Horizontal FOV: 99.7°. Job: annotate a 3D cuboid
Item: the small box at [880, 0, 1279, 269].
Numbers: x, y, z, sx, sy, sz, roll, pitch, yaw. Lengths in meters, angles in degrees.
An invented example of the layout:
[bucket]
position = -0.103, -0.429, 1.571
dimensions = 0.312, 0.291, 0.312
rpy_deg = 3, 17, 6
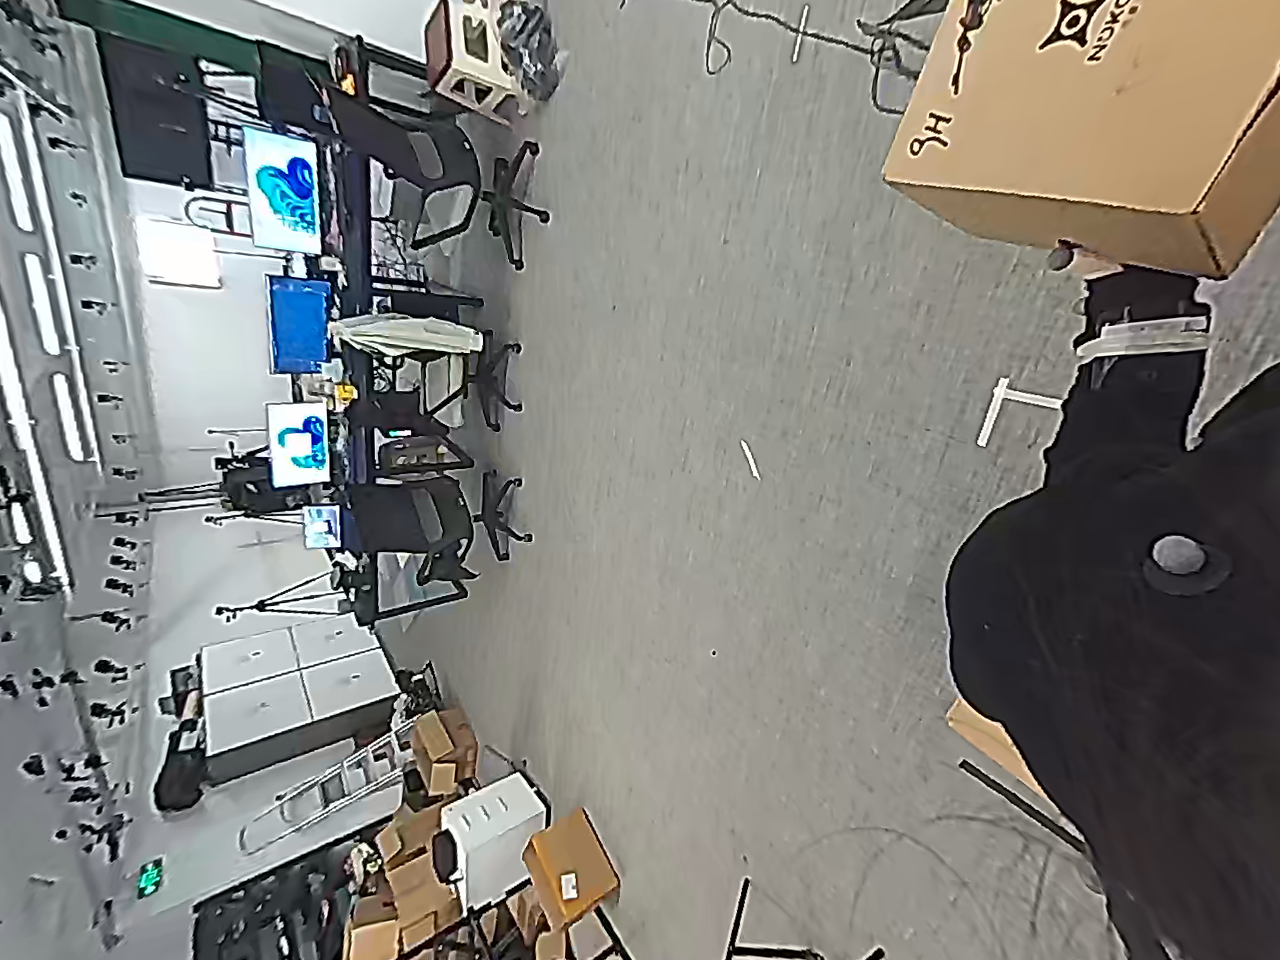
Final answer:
[small box]
position = 0.296, -0.240, 0.332
dimensions = 0.179, 0.176, 0.168
rpy_deg = 39, 122, 42
